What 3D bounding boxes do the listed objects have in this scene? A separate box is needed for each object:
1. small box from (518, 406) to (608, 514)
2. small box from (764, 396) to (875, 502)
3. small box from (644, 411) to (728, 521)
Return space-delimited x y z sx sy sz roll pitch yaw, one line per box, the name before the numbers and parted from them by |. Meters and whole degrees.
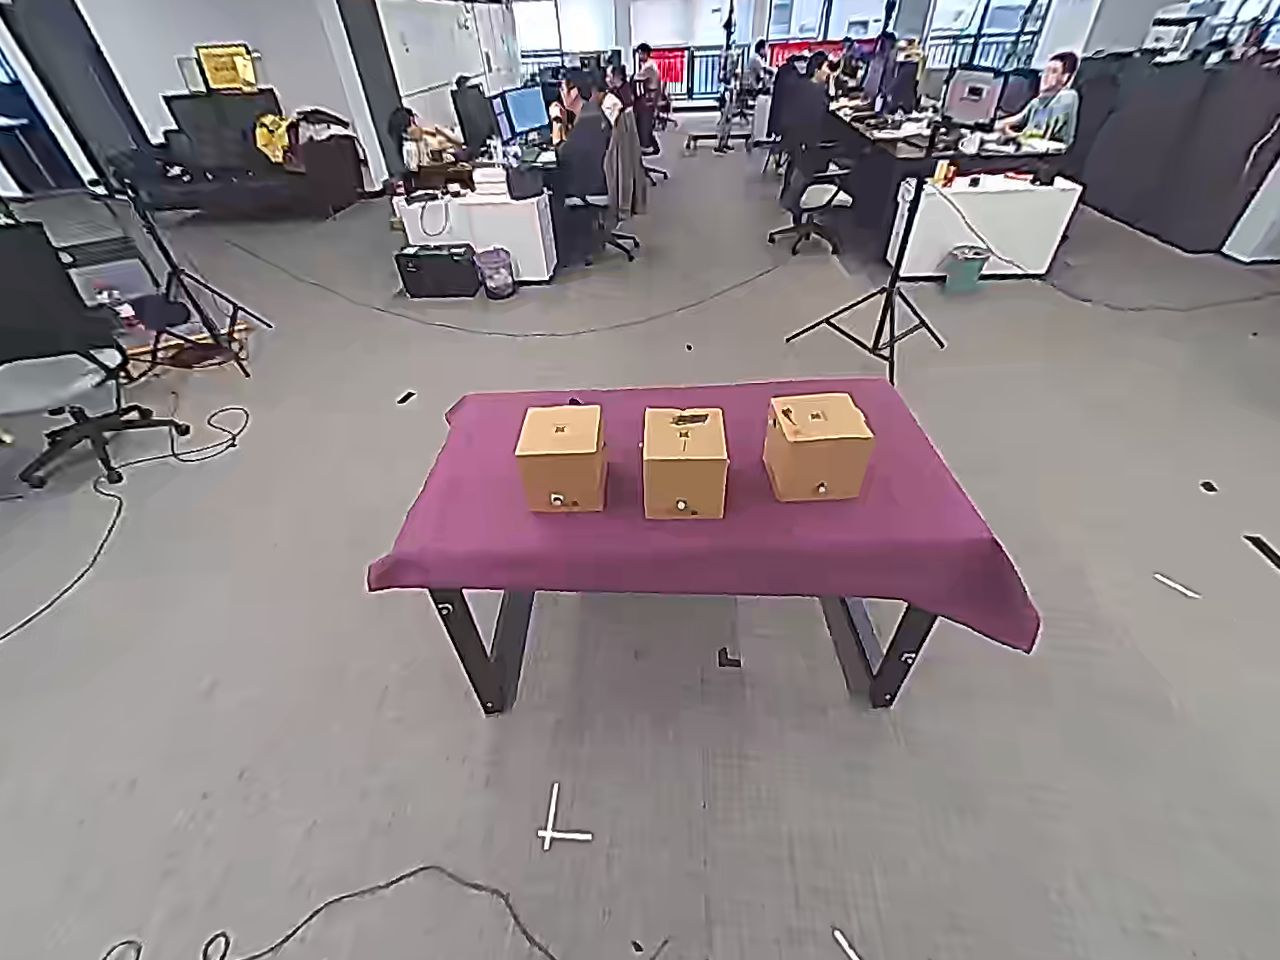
small box | -0.160 -0.044 1.191 0.168 0.176 0.179 -3 41 2
small box | 0.382 -0.067 1.182 0.179 0.176 0.168 -3 40 0
small box | 0.096 -0.032 1.158 0.168 0.176 0.179 0 40 4
